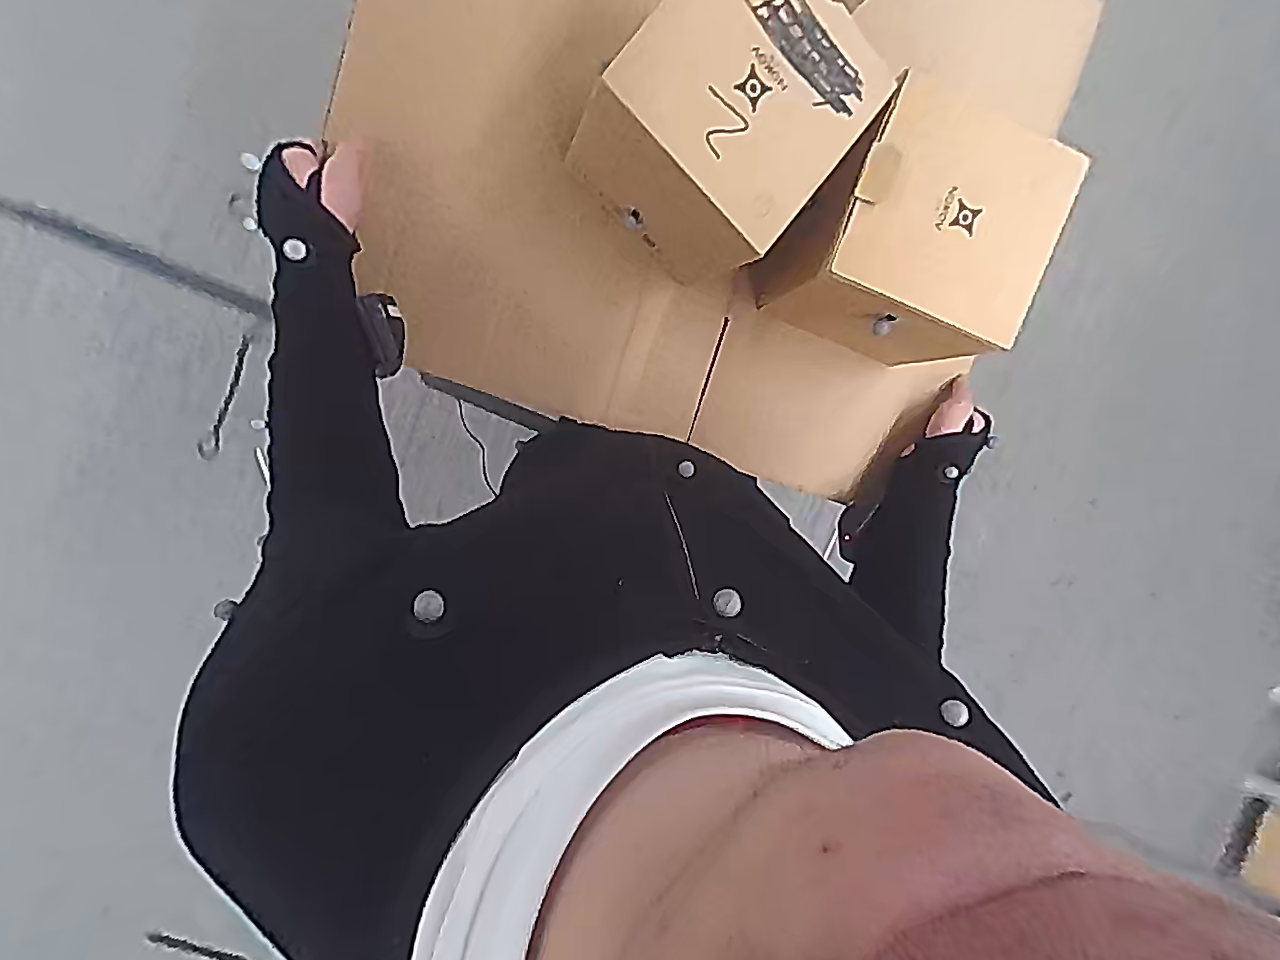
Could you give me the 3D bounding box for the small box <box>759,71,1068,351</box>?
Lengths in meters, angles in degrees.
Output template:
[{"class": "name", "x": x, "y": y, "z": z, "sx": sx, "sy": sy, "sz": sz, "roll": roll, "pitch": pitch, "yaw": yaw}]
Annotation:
[{"class": "small box", "x": 0.243, "y": -0.233, "z": 0.525, "sx": 0.179, "sy": 0.176, "sz": 0.168, "roll": 18, "pitch": 95, "yaw": -8}]
